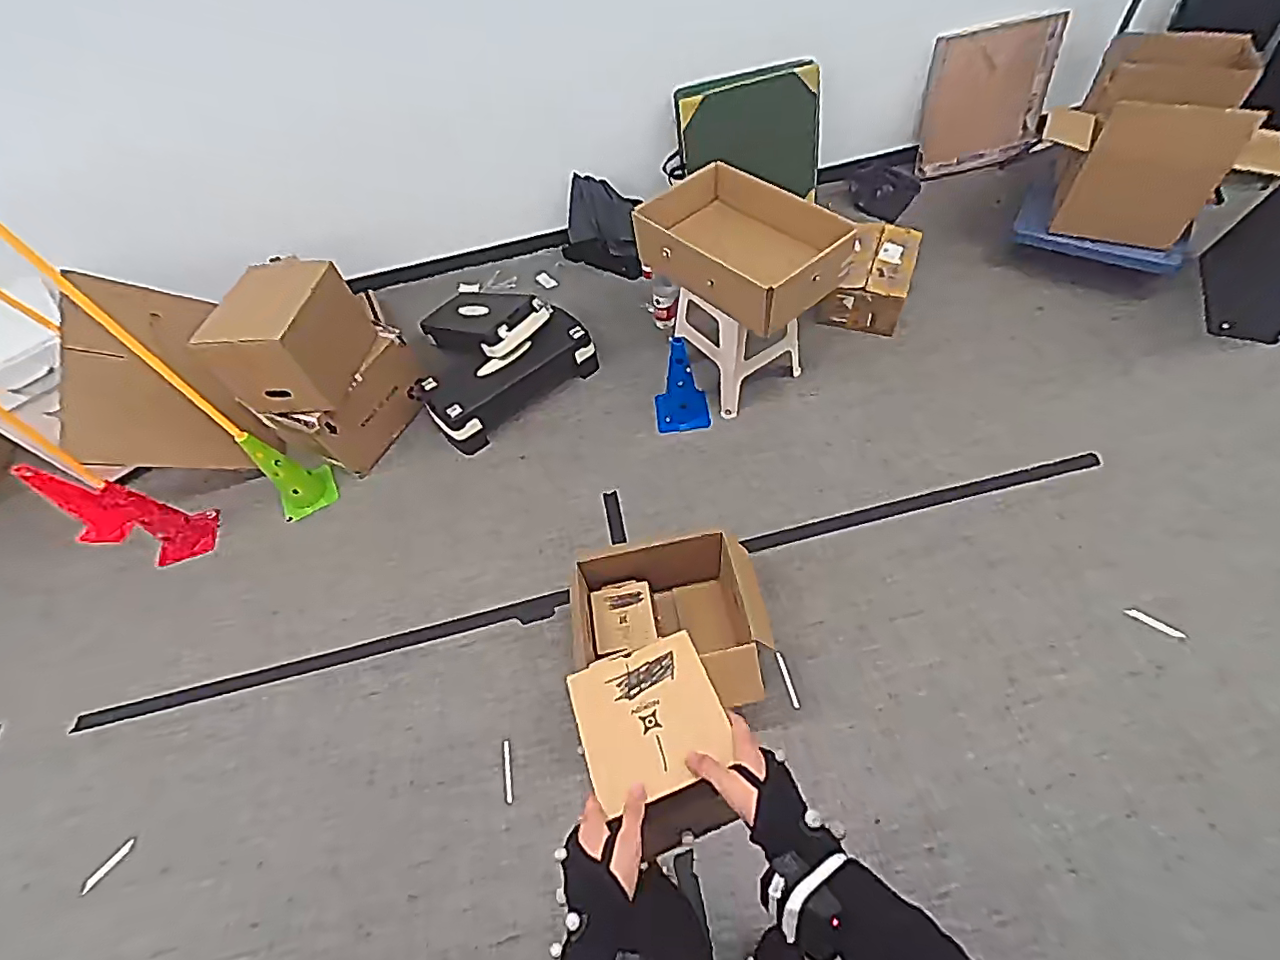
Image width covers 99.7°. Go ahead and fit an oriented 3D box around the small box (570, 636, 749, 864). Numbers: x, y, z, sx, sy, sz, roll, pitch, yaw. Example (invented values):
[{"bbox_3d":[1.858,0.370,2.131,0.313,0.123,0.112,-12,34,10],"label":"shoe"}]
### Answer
[{"bbox_3d":[0.025,0.337,0.681,0.168,0.176,0.179,-20,41,-8],"label":"small box"}]
